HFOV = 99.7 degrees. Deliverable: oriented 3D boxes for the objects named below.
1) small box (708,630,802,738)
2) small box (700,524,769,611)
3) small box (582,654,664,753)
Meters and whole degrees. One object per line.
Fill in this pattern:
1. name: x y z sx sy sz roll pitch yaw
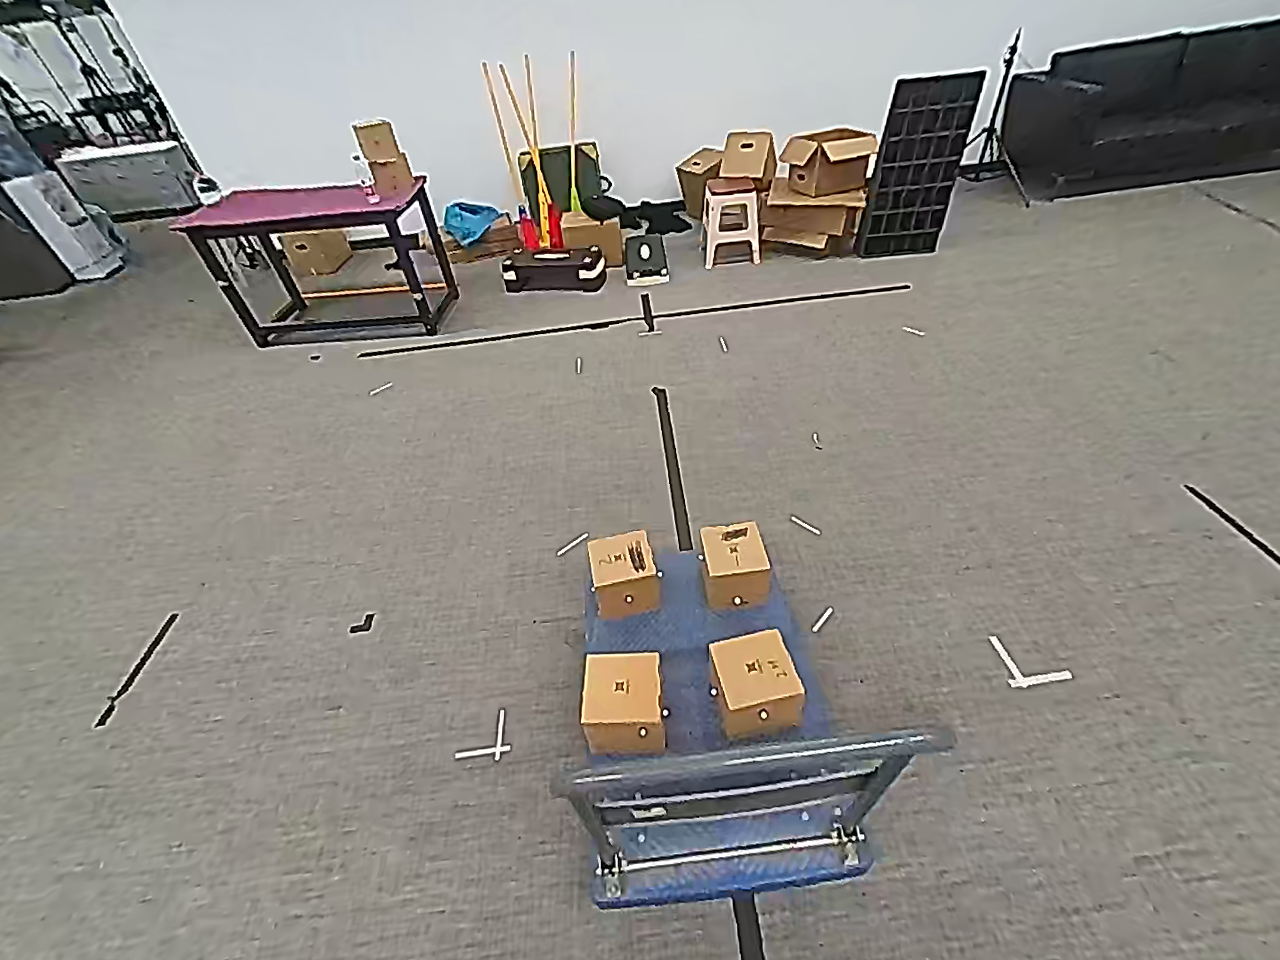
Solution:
1. small box: 0.269 0.491 1.292 0.179 0.176 0.168 -11 43 -4
2. small box: 0.265 0.251 1.554 0.168 0.176 0.179 -7 43 0
3. small box: -0.035 0.534 1.289 0.179 0.176 0.168 -3 42 3
